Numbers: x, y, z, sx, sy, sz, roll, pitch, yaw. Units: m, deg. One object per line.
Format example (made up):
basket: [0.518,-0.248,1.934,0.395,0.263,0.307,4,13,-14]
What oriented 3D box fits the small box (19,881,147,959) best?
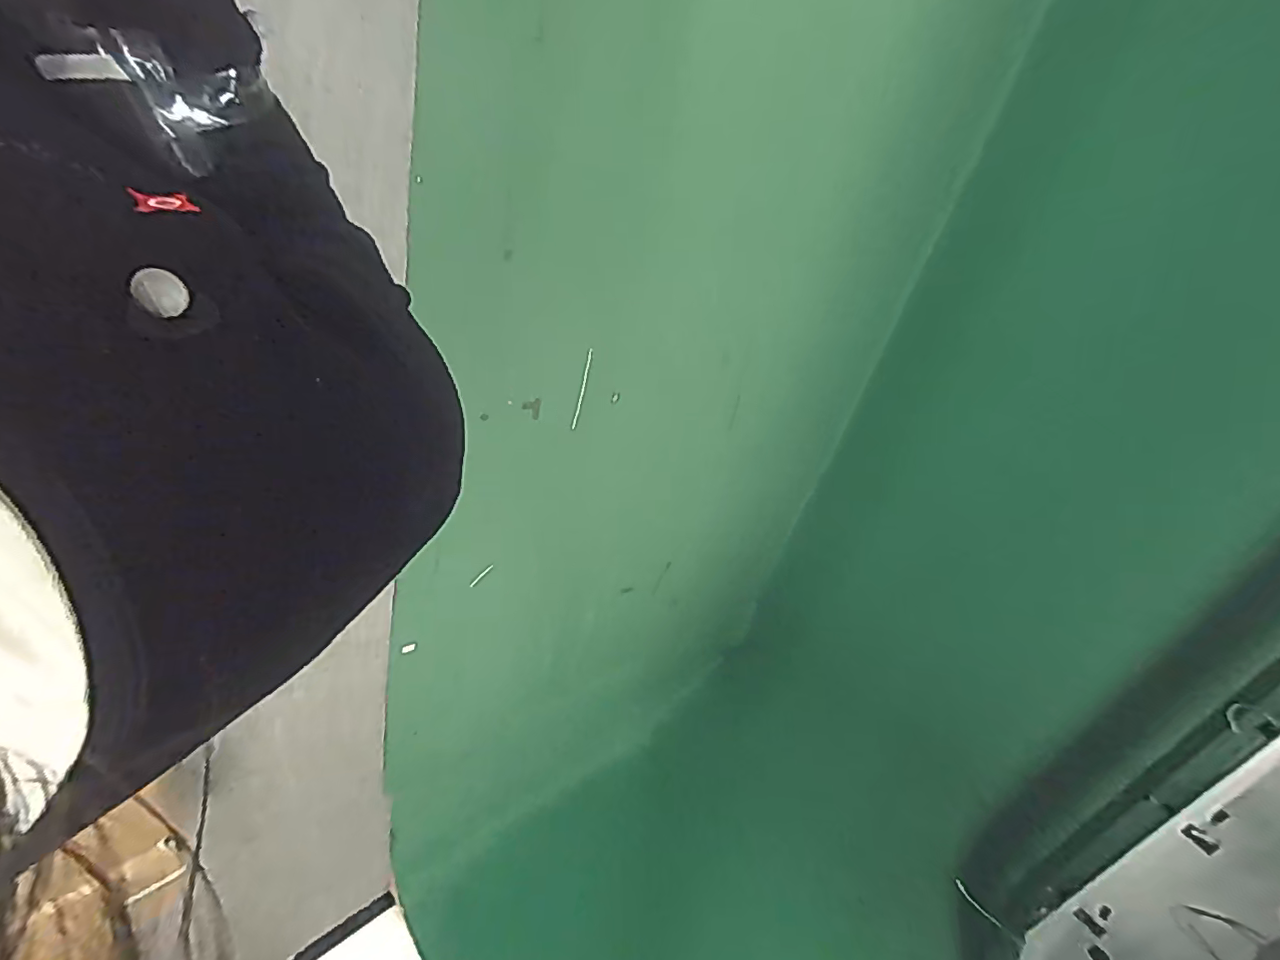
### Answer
small box: [-1.305,1.102,1.270,0.179,0.176,0.168,-18,131,-39]

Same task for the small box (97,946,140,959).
small box: [-1.194,1.179,1.178,0.168,0.176,0.179,-20,132,-40]
